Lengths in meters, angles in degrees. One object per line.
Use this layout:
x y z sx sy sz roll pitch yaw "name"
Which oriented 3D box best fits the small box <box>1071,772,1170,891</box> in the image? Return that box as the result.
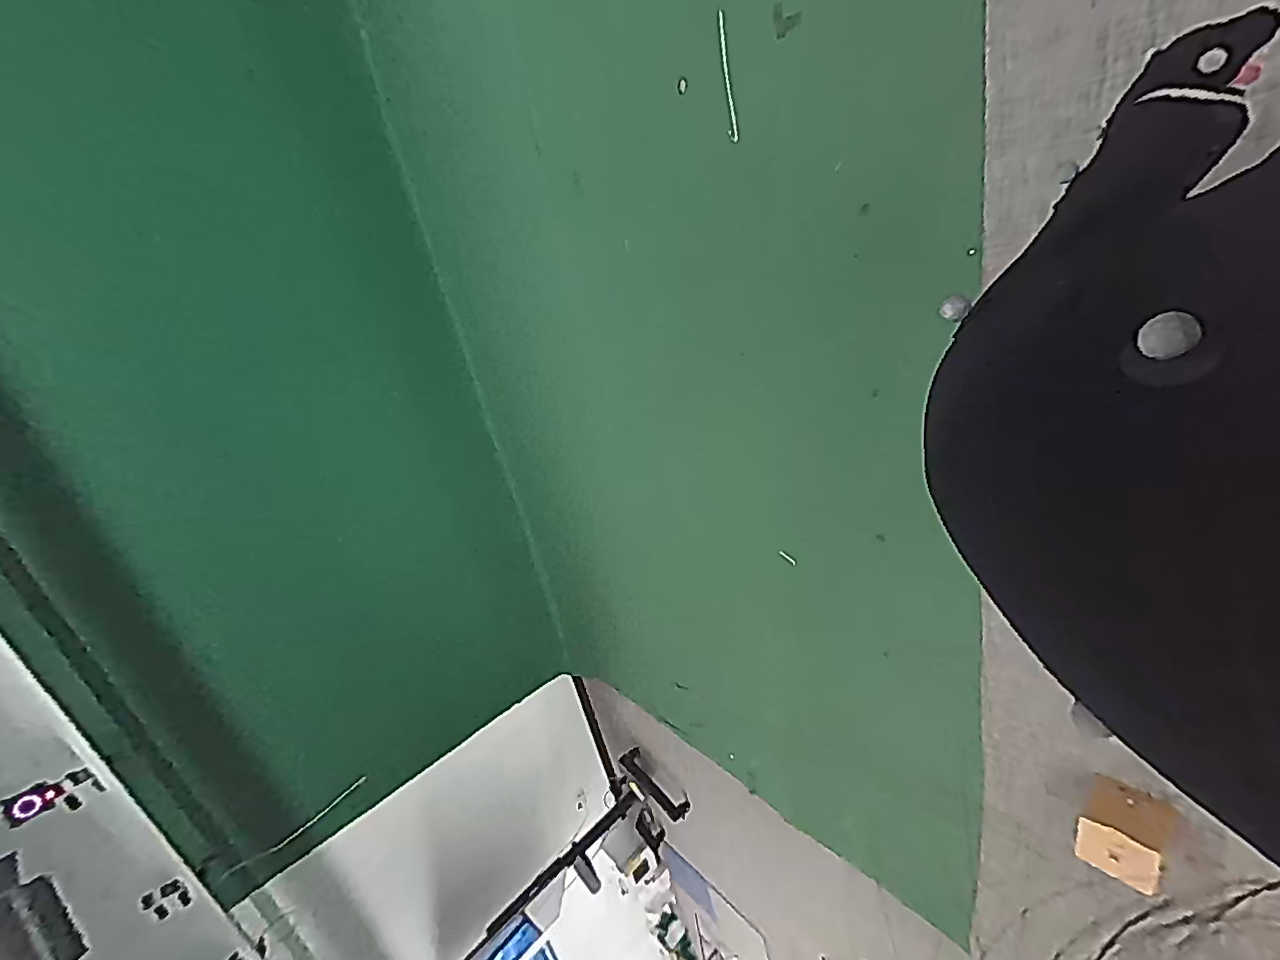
1.322 0.959 1.488 0.168 0.176 0.179 14 123 48 "small box"
